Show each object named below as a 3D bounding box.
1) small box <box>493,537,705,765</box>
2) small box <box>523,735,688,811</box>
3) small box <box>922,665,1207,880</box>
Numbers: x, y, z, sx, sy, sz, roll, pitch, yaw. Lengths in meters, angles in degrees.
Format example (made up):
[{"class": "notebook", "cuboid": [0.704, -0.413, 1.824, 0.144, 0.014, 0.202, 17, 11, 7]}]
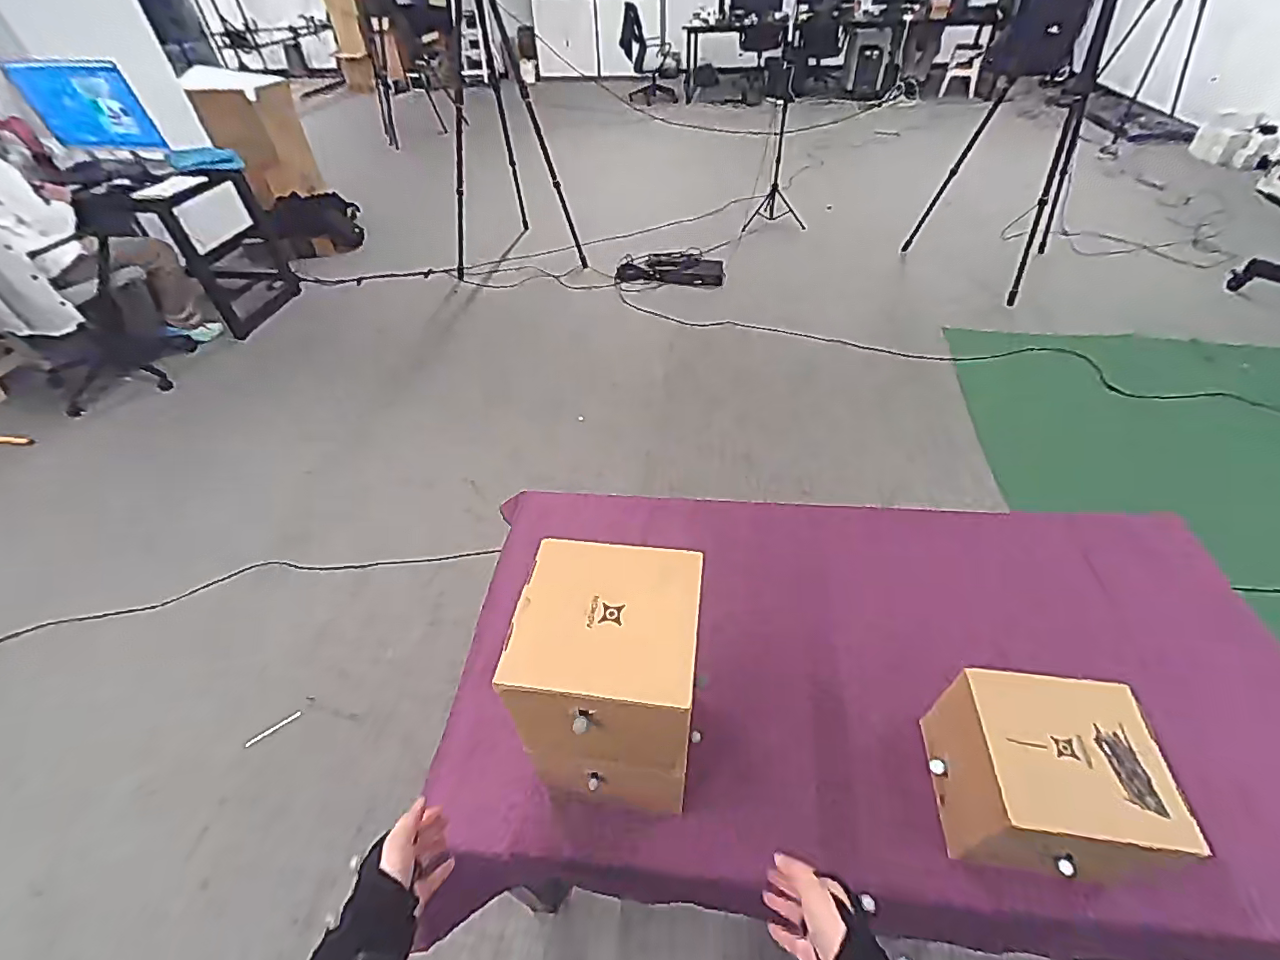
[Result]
[{"class": "small box", "cuboid": [-0.027, 0.181, 0.569, 0.179, 0.176, 0.168, 4, 46, 8]}, {"class": "small box", "cuboid": [-0.026, 0.297, 0.684, 0.179, 0.176, 0.168, 5, 46, 8]}, {"class": "small box", "cuboid": [0.454, 0.336, 0.619, 0.179, 0.176, 0.168, 4, 45, 8]}]
